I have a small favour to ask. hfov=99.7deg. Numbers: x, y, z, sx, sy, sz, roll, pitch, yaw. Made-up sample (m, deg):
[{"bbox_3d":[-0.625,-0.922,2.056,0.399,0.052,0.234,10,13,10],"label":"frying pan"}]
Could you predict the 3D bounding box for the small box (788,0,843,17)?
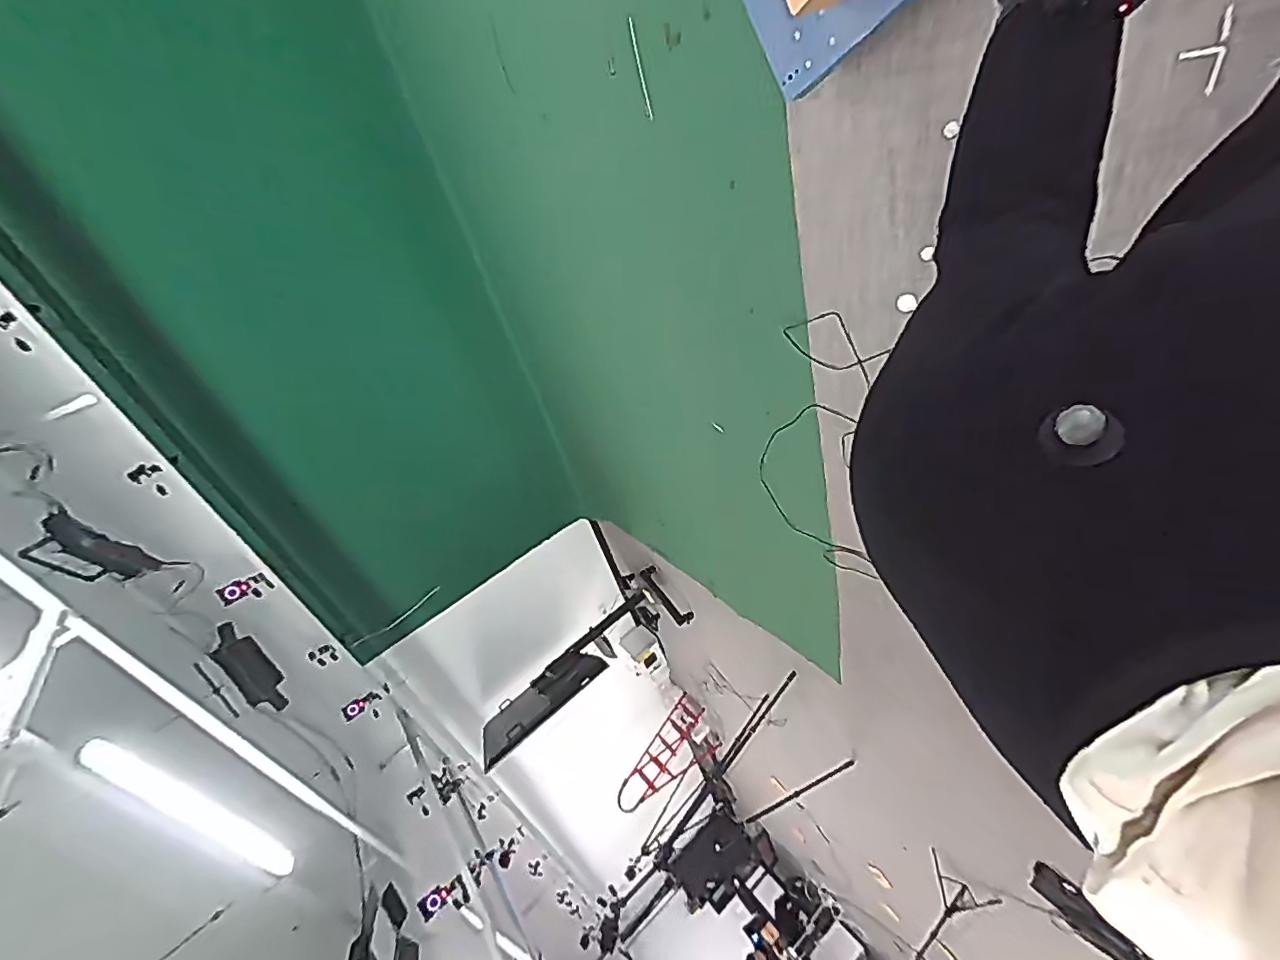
[{"bbox_3d":[0.401,-1.133,1.130,0.168,0.176,0.179,60,157,-11],"label":"small box"}]
